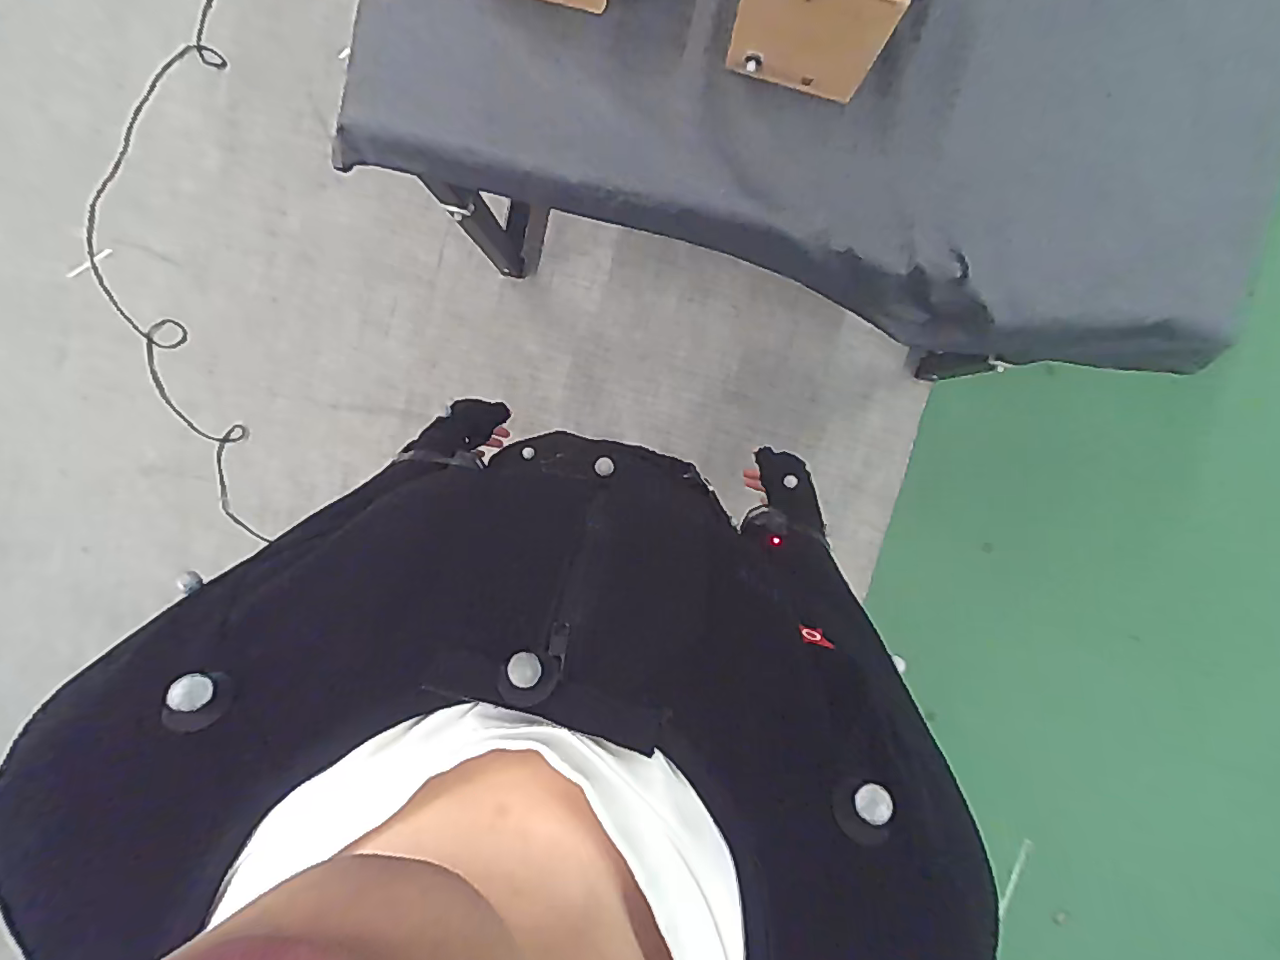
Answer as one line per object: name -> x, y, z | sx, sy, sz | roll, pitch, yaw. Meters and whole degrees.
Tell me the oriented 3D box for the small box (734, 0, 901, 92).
small box -> 0.212, -0.585, 0.603 | 0.168, 0.176, 0.179 | 16, 94, -1
